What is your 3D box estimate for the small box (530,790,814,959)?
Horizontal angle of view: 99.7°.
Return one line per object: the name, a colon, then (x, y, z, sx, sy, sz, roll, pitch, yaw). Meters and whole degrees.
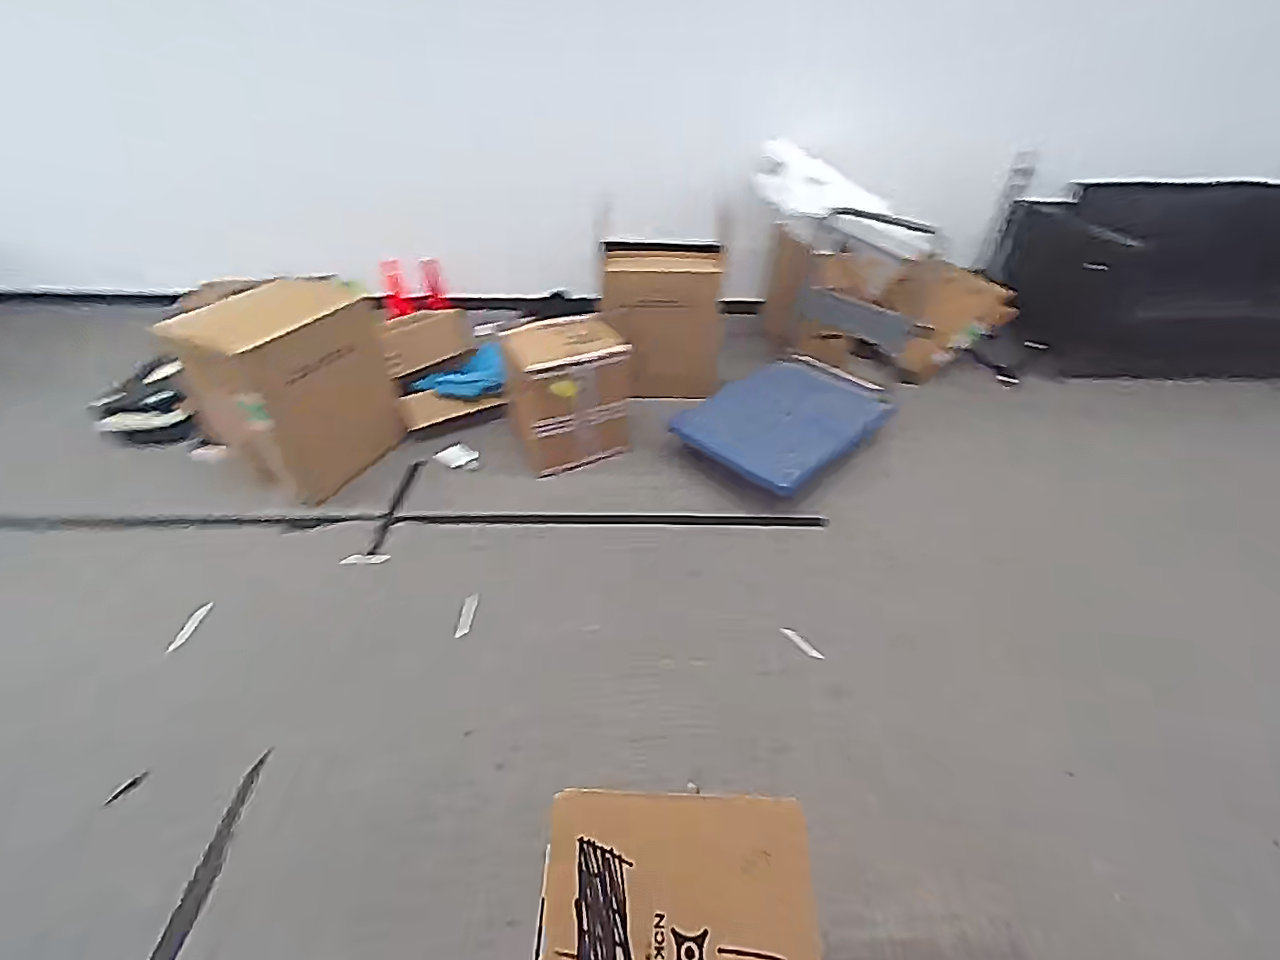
small box: (0.027, 0.331, 0.395, 0.179, 0.176, 0.168, -3, 55, 6)
